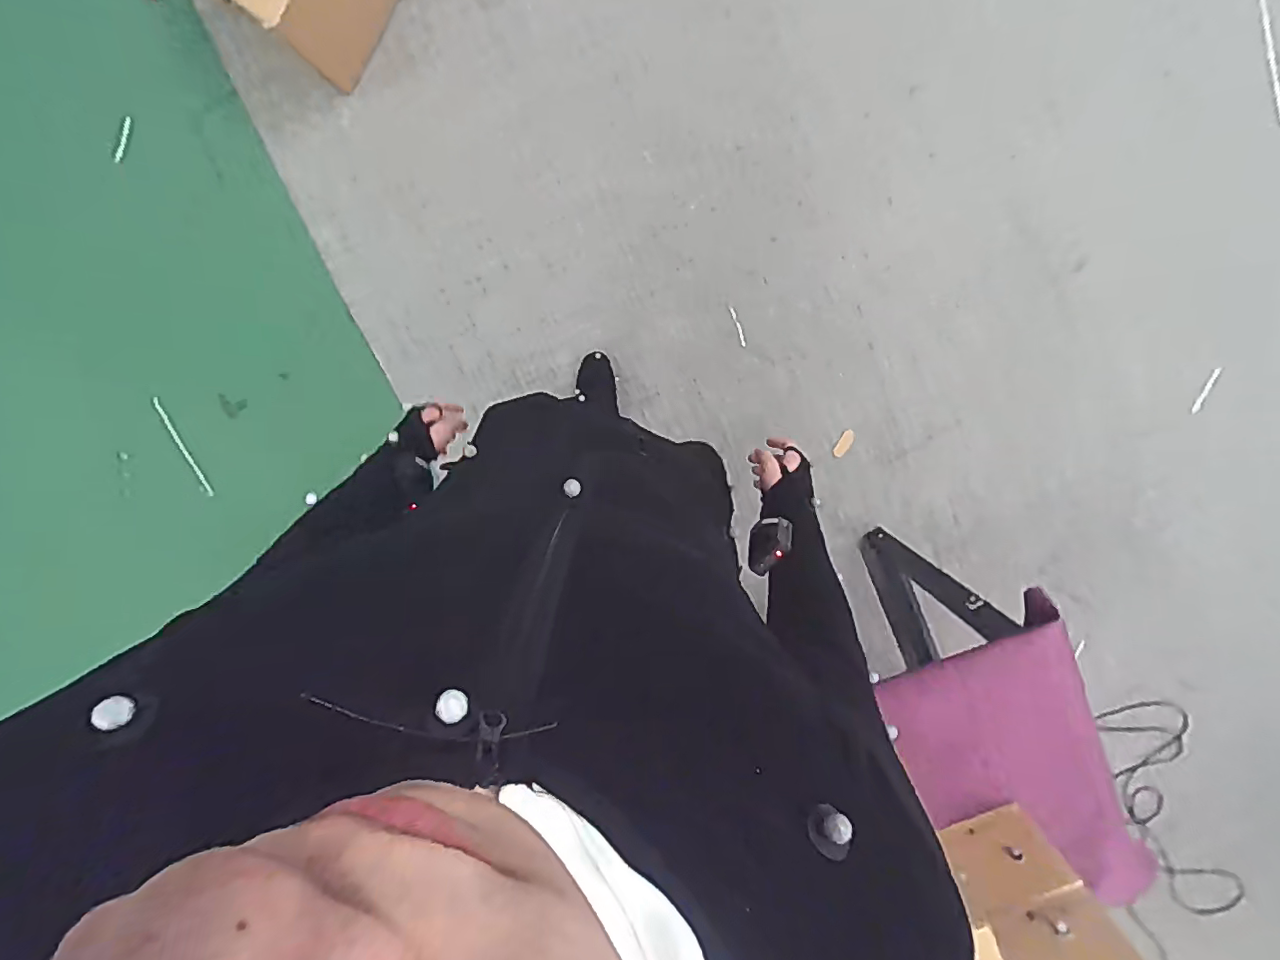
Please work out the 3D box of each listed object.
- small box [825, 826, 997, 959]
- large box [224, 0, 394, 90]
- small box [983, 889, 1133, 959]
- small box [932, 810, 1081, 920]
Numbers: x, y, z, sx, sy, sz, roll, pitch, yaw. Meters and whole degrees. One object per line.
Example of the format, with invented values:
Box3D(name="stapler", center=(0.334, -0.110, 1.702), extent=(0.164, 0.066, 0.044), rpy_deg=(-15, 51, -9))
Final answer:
Box3D(name="small box", center=(0.394, 0.648, 0.791), extent=(0.168, 0.176, 0.179), rpy_deg=(-23, 102, 6))
Box3D(name="large box", center=(-0.763, -1.214, 1.202), extent=(0.320, 0.320, 0.408), rpy_deg=(34, 101, -7))
Box3D(name="small box", center=(0.666, 0.784, 0.825), extent=(0.168, 0.176, 0.179), rpy_deg=(-20, 102, 4))
Box3D(name="small box", center=(0.669, 0.743, 0.985), extent=(0.168, 0.176, 0.179), rpy_deg=(-24, 102, 4))
